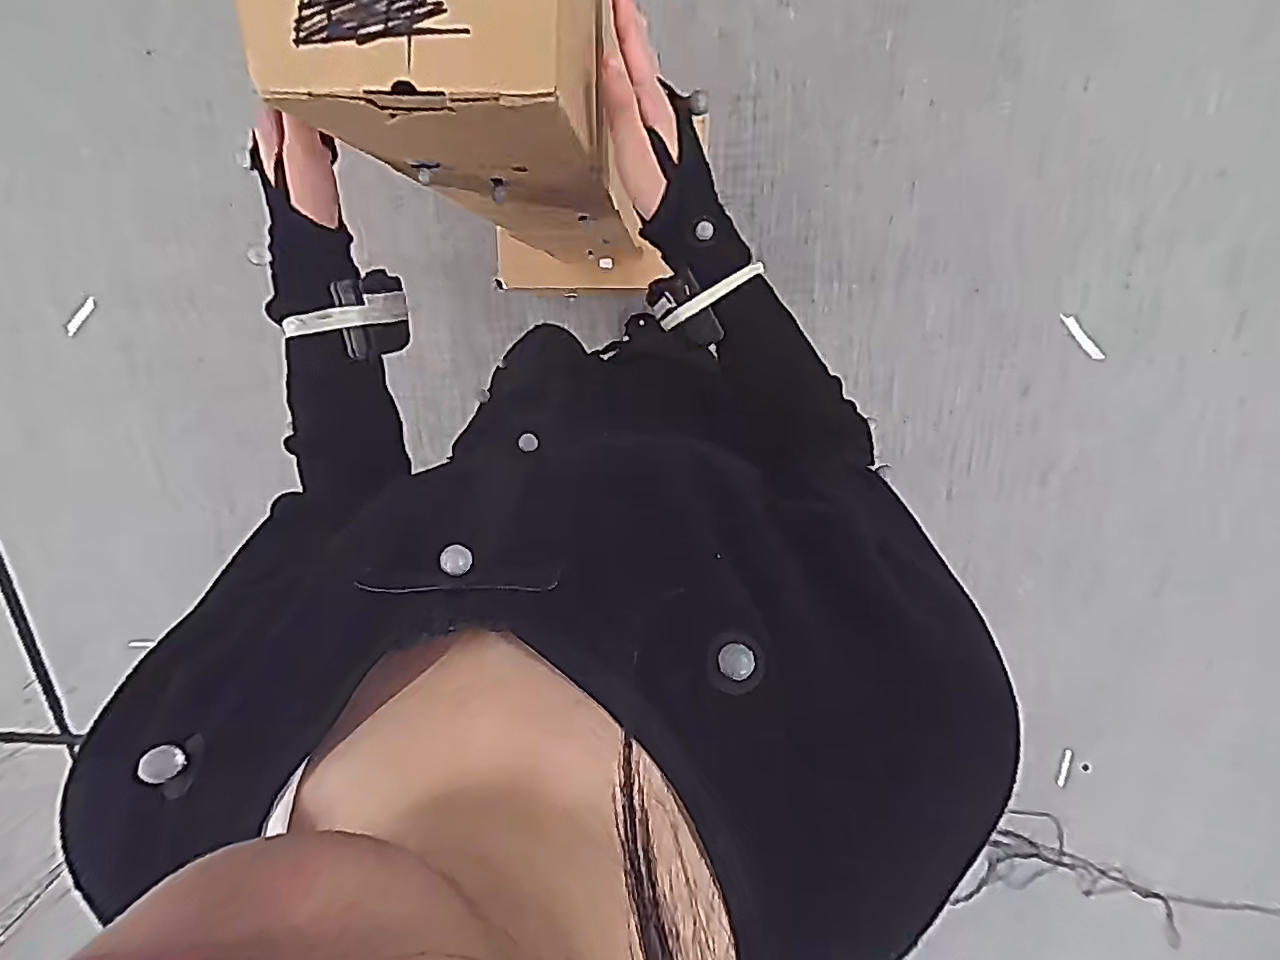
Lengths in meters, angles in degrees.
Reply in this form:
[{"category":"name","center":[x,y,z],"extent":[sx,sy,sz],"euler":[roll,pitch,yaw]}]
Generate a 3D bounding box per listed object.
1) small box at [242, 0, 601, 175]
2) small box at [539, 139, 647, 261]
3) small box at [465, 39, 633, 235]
[{"category":"small box","center":[-0.115,-0.305,0.338],"extent":[0.168,0.176,0.179],"euler":[3,107,3]},{"category":"small box","center":[-0.080,-0.489,0.965],"extent":[0.179,0.176,0.168],"euler":[-1,107,3]},{"category":"small box","center":[-0.100,-0.397,0.650],"extent":[0.179,0.176,0.168],"euler":[3,107,2]}]
